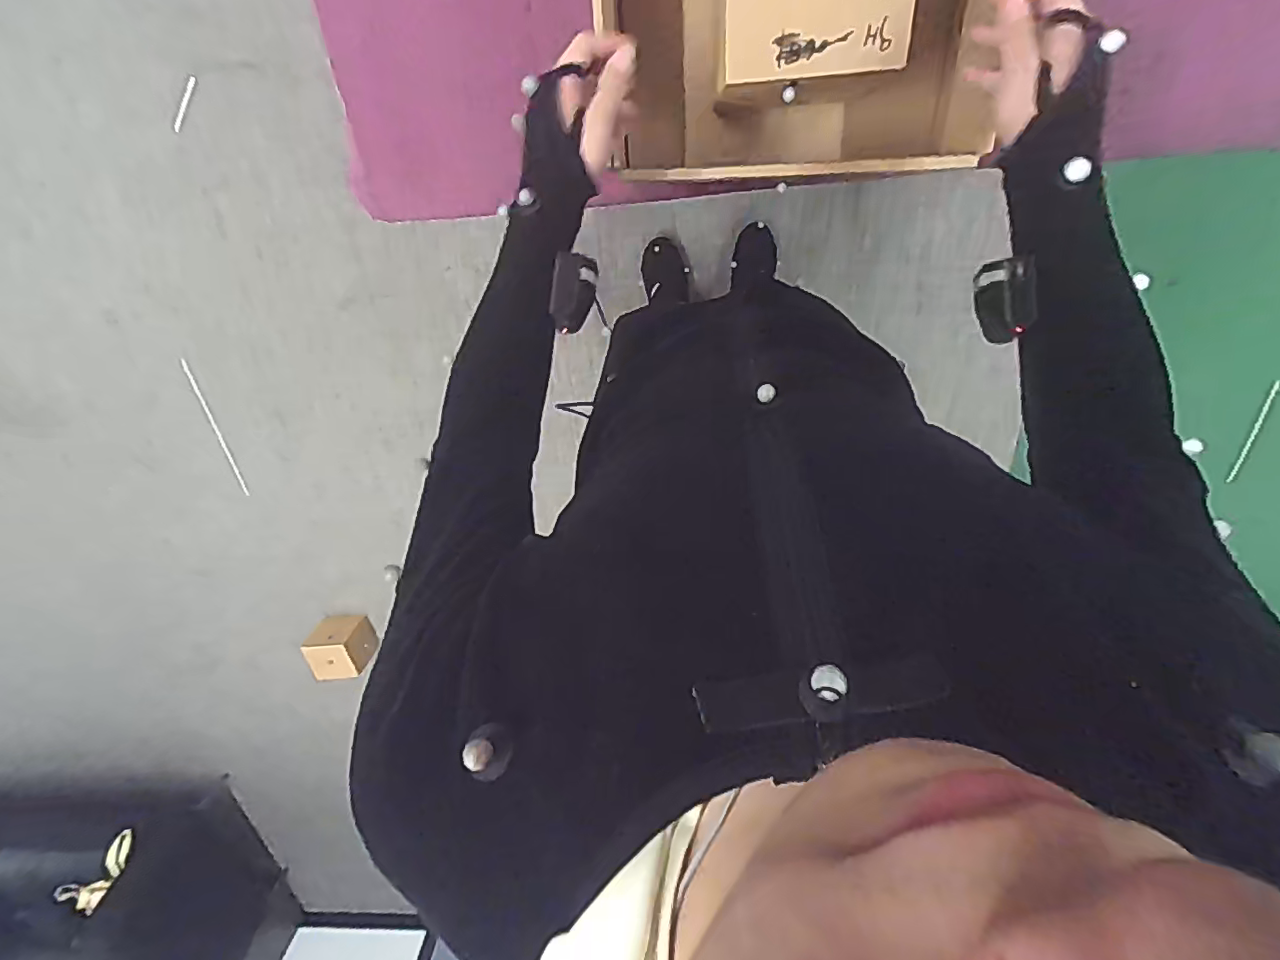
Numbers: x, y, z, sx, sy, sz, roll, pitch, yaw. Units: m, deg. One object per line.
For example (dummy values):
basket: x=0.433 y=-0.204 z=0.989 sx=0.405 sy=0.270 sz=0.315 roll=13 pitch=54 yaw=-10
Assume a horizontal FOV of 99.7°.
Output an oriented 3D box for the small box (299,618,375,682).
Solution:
small box: x=-1.140 y=0.641 z=2.053 sx=0.179 sy=0.176 sz=0.168 roll=-5 pitch=116 yaw=6
